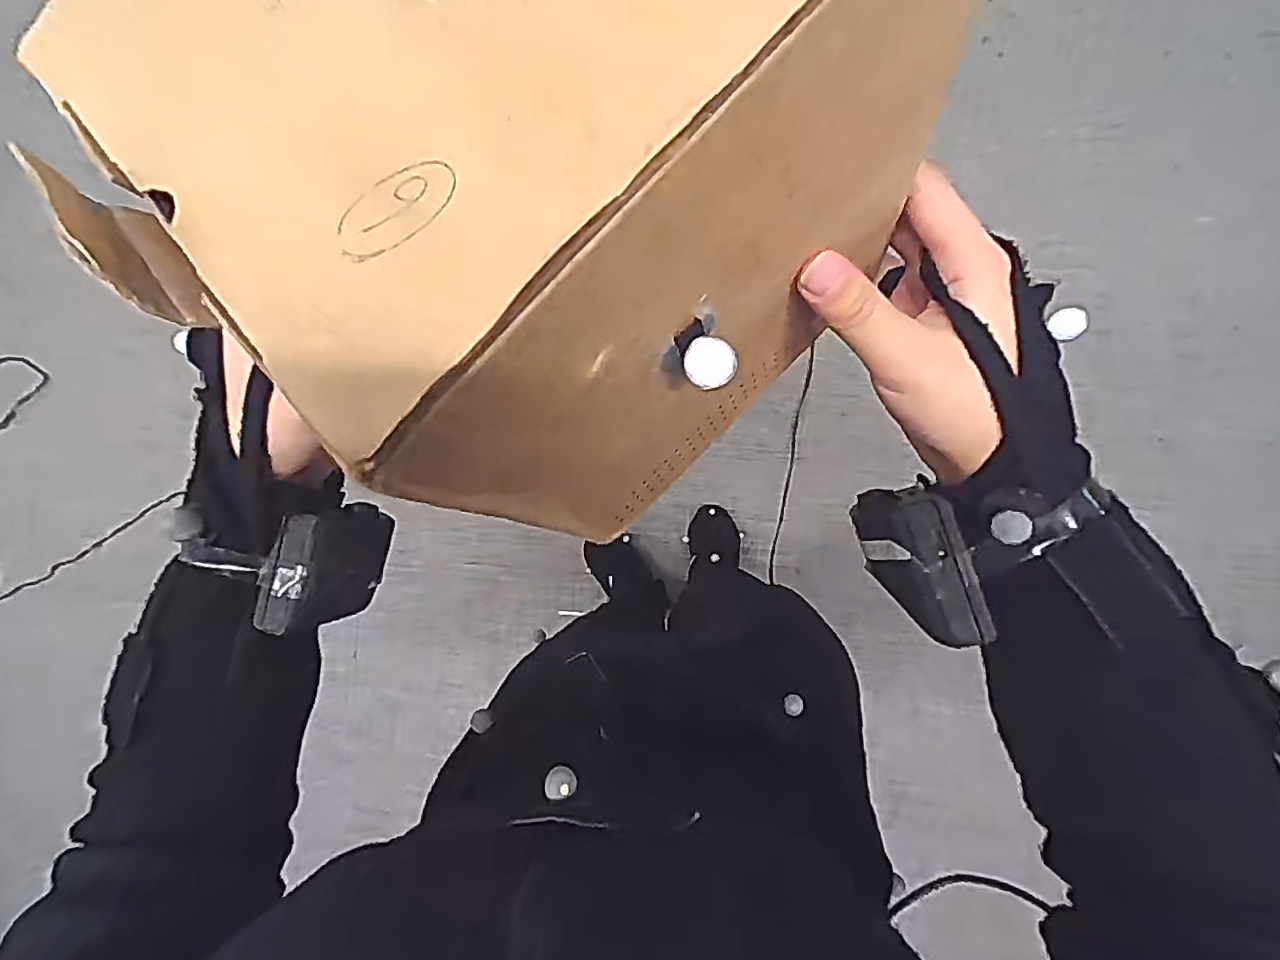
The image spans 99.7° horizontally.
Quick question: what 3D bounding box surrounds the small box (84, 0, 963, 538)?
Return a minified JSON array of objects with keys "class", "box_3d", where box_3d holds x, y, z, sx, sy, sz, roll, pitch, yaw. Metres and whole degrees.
[{"class":"small box","box_3d":[-0.022,-0.094,0.200,0.179,0.176,0.168,-45,74,2]}]
